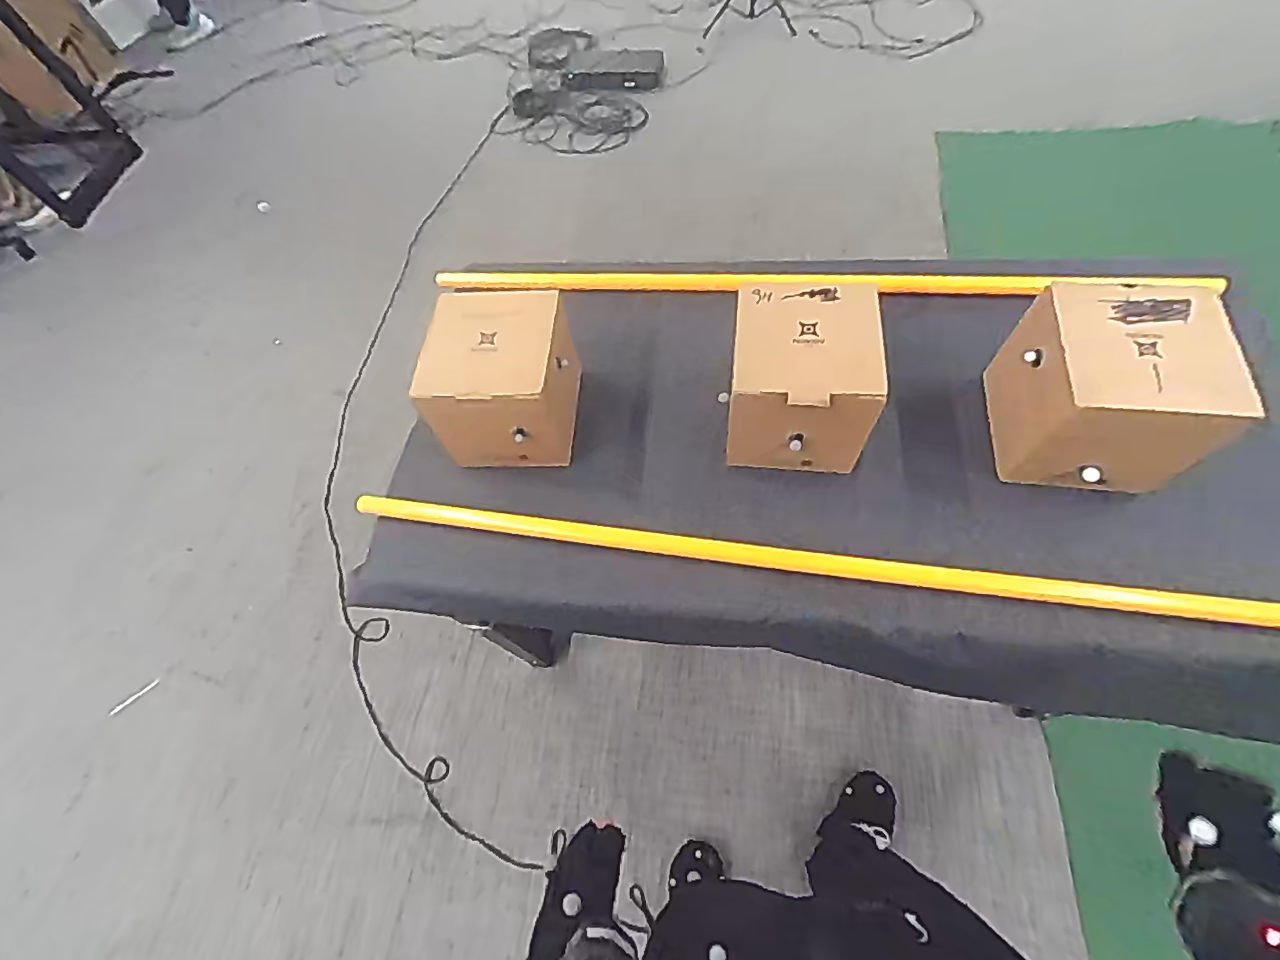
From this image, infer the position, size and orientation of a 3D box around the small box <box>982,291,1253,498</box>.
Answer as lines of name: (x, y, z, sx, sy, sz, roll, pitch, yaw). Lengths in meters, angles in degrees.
small box: (0.538, -0.099, 0.647, 0.168, 0.176, 0.179, 5, 63, 10)

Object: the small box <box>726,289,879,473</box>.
small box: (0.198, -0.120, 0.704, 0.168, 0.176, 0.179, 0, 60, 9)

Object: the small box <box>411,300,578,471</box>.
small box: (-0.185, -0.123, 0.750, 0.168, 0.176, 0.179, 0, 59, 5)
